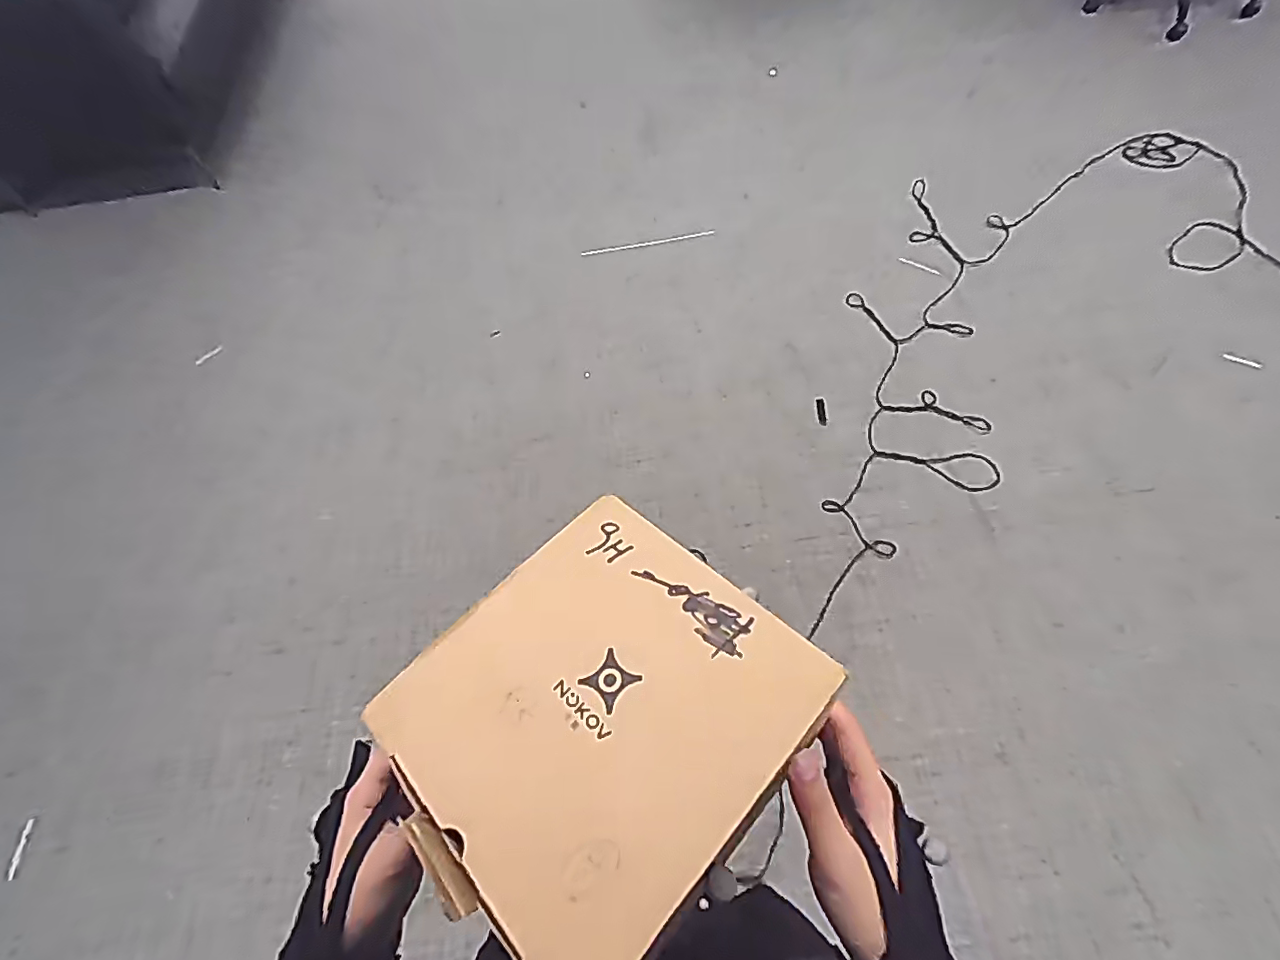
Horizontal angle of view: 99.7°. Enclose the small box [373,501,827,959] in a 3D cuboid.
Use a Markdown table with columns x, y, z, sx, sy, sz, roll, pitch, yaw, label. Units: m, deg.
| x | y | z | sx | sy | sz | roll | pitch | yaw | label |
| --- | --- | --- | --- | --- | --- | --- | --- | --- | --- |
| -0.012 | 0.154 | 0.331 | 0.168 | 0.176 | 0.179 | 35 | 66 | 30 | small box |
